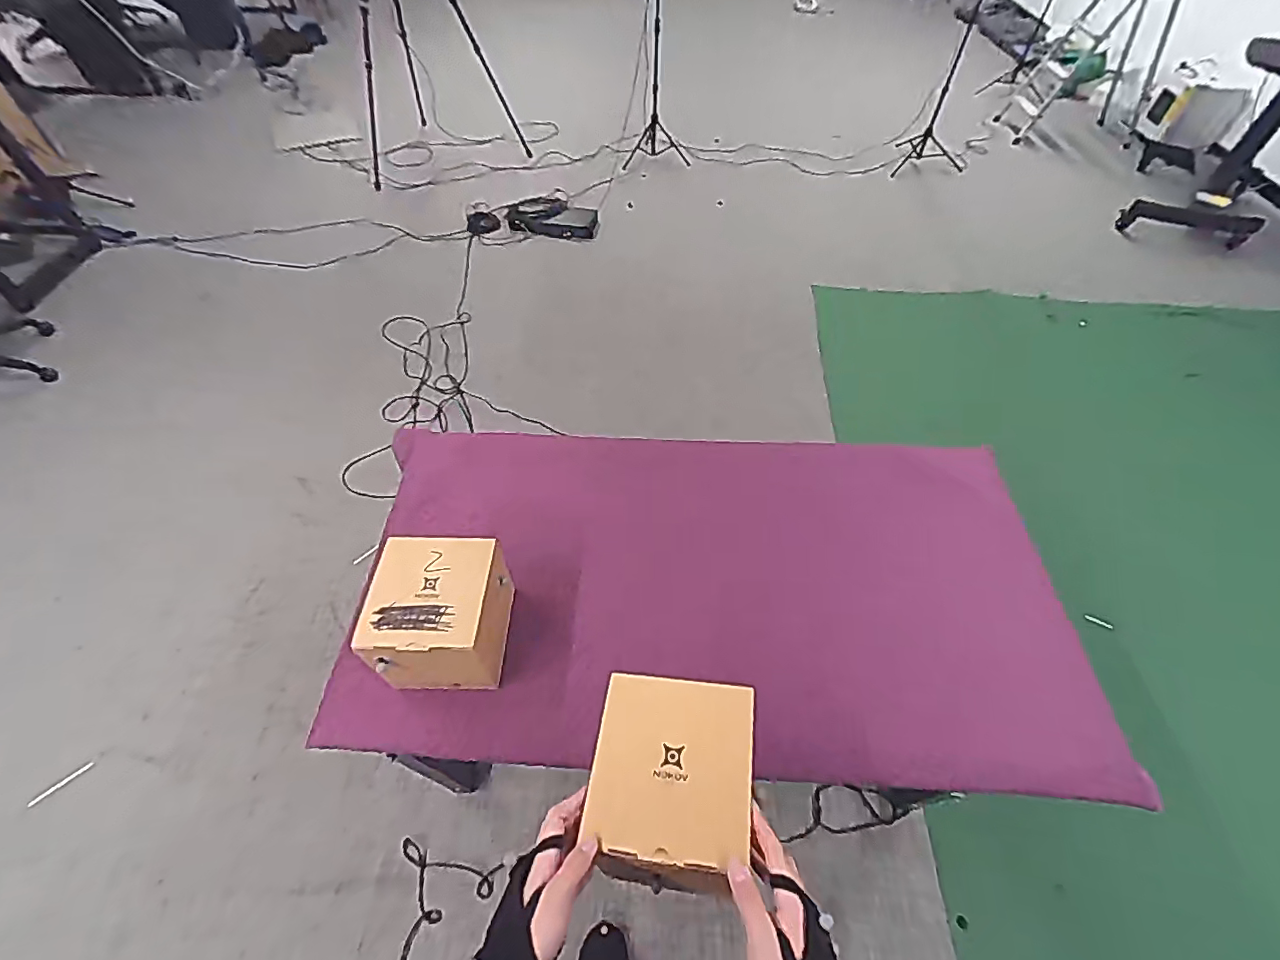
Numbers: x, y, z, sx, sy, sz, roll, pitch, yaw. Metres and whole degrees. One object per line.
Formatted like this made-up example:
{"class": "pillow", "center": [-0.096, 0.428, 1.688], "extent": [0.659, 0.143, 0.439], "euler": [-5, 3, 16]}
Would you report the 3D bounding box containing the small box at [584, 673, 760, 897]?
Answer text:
{"class": "small box", "center": [0.046, 0.347, 0.618], "extent": [0.168, 0.176, 0.179], "euler": [3, 48, 10]}
